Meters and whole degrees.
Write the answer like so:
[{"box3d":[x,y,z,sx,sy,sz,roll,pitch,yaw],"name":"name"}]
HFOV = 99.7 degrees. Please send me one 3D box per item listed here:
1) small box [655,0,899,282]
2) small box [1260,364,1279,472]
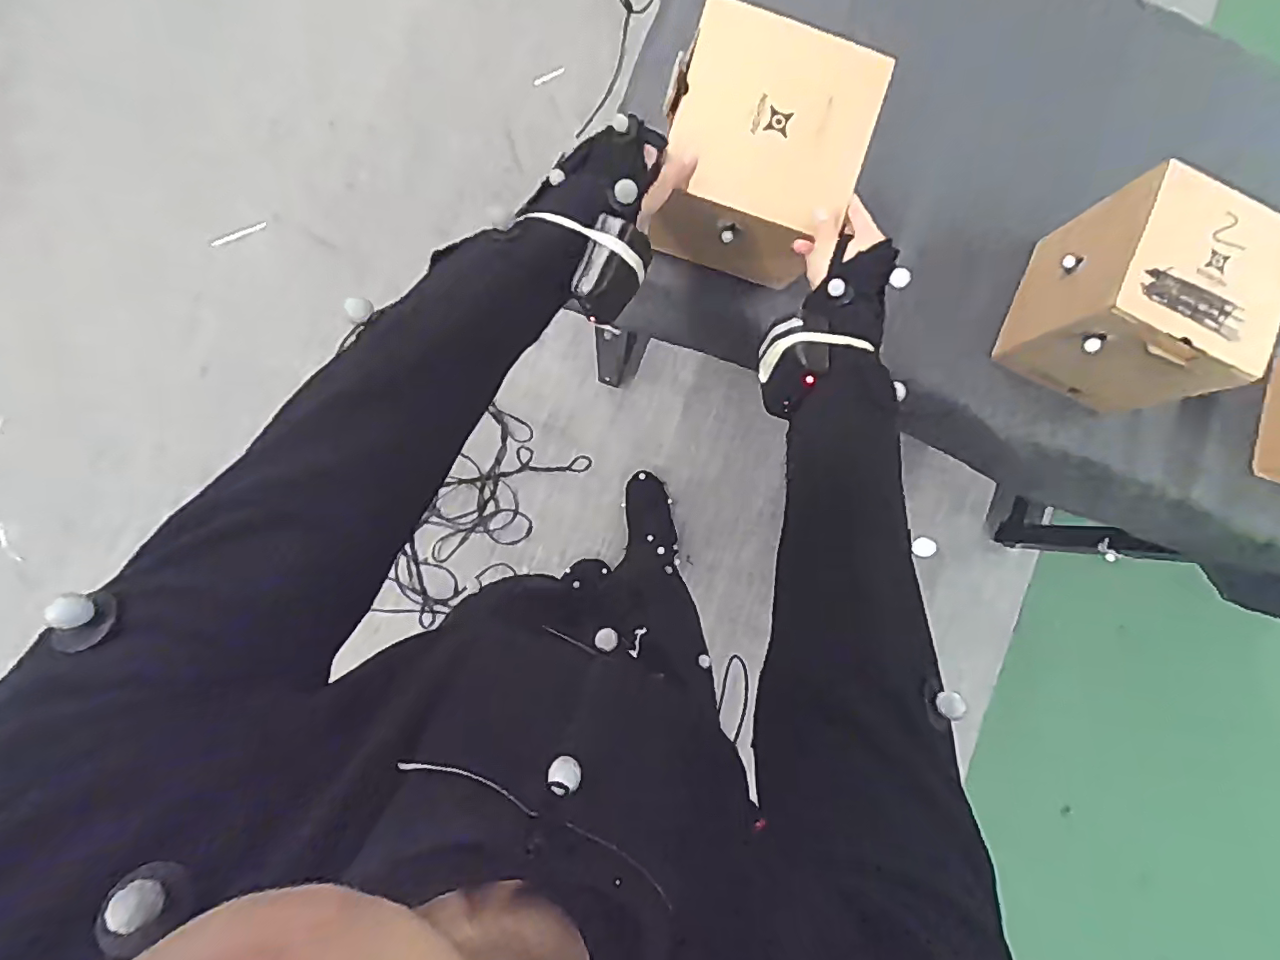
[{"box3d":[0.119,-0.321,0.551,0.179,0.176,0.168,15,95,-4],"name":"small box"},{"box3d":[0.896,-0.084,0.625,0.168,0.176,0.179,16,86,-3],"name":"small box"}]
